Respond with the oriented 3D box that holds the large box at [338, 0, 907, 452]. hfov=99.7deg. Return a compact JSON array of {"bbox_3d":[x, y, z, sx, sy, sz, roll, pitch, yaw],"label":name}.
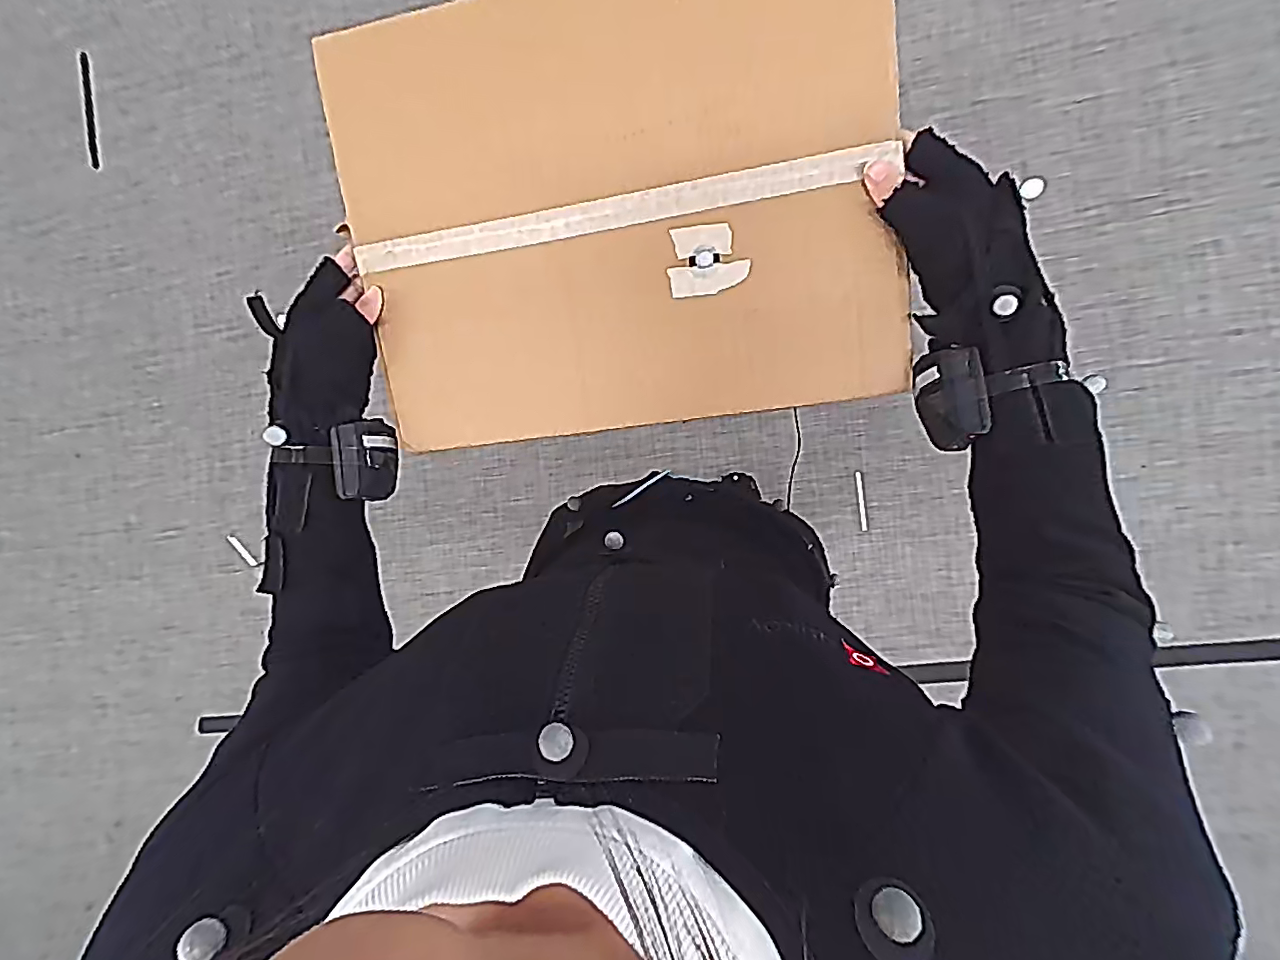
[{"bbox_3d":[0.000,-0.226,0.553,0.408,0.320,0.320,-7,101,9],"label":"large box"}]
